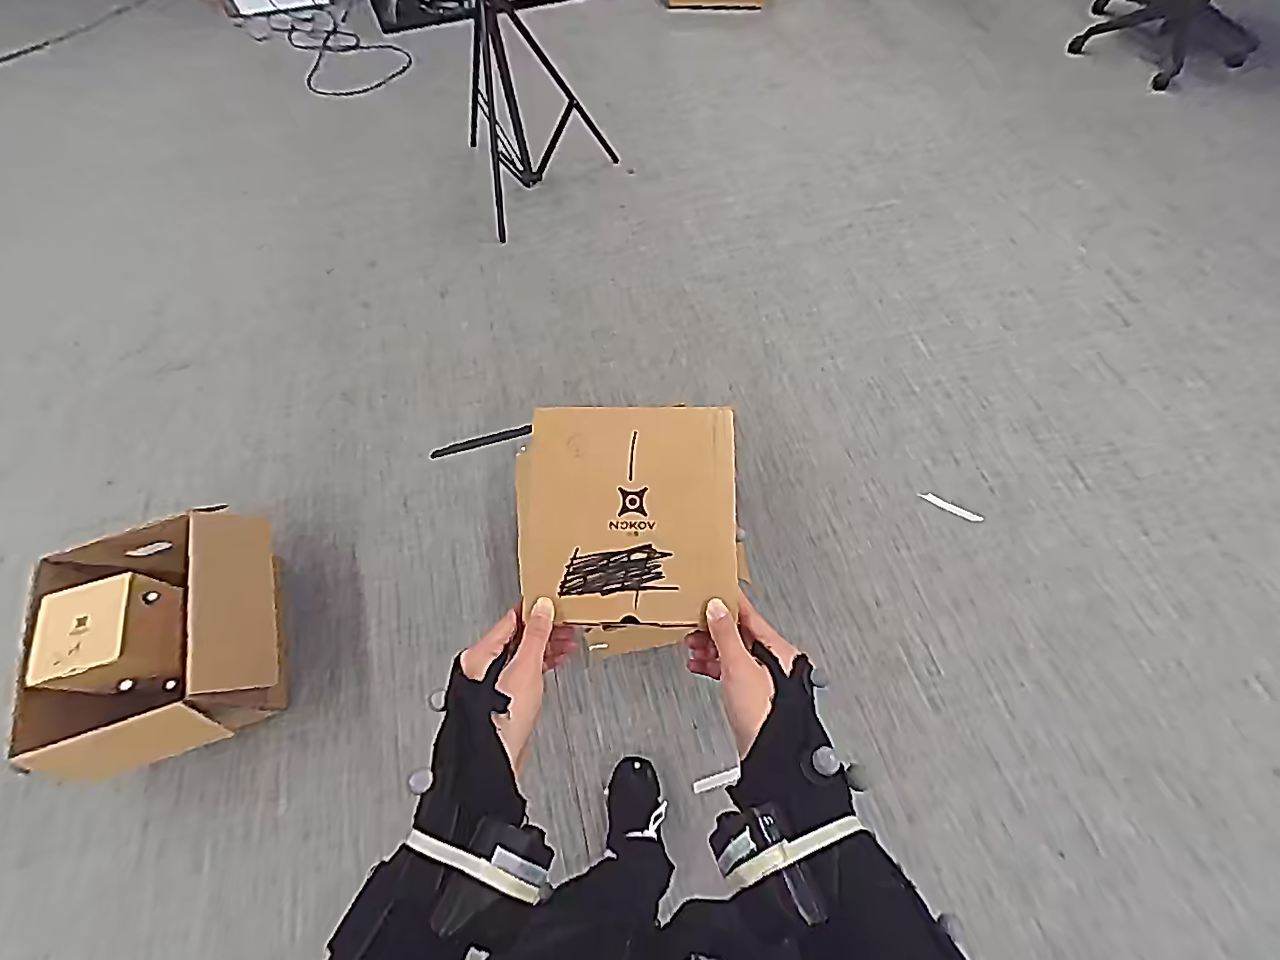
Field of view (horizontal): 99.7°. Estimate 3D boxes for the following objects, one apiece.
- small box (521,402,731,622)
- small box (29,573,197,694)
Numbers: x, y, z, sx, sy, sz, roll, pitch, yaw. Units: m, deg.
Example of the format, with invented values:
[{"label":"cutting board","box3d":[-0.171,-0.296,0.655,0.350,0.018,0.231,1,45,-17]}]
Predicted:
[{"label":"small box","box3d":[-0.005,0.037,0.507,0.168,0.176,0.179,0,78,2]},{"label":"small box","box3d":[-1.042,0.313,1.089,0.168,0.176,0.179,-16,64,-4]}]
